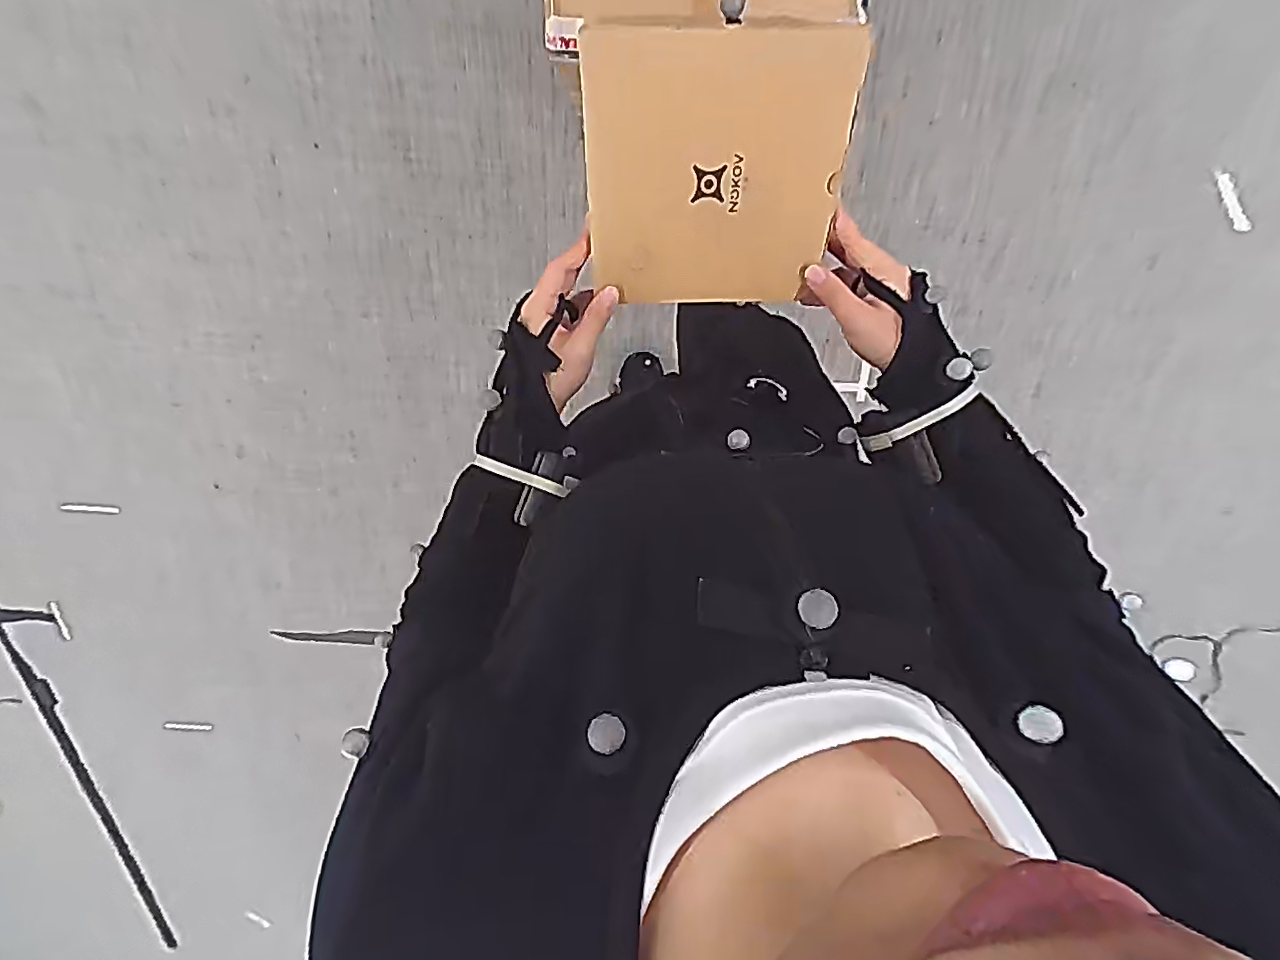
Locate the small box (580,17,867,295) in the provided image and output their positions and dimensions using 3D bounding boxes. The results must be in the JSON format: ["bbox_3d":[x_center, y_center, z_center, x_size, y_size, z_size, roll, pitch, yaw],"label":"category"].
[{"bbox_3d":[0.048,-0.262,0.435,0.179,0.176,0.168,-2,131,-2],"label":"small box"}]
